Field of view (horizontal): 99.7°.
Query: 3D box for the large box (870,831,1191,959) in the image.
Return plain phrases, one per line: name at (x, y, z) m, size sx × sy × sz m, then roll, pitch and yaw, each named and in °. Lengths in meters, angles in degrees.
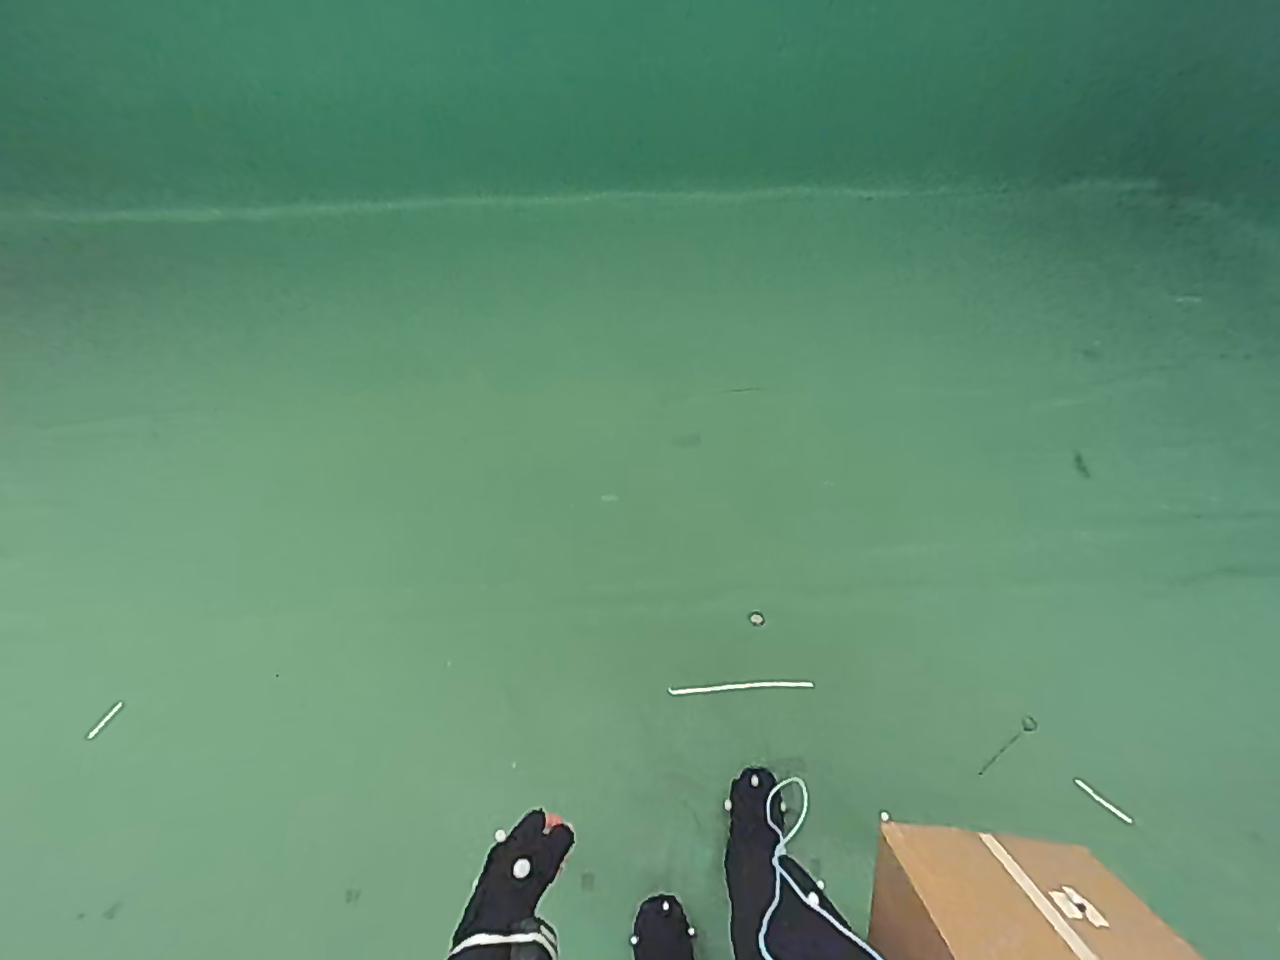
large box at (0.506, 0.720, 0.651) m, size 0.320 × 0.408 × 0.320 m, roll 5°, pitch 92°, yaw 3°
